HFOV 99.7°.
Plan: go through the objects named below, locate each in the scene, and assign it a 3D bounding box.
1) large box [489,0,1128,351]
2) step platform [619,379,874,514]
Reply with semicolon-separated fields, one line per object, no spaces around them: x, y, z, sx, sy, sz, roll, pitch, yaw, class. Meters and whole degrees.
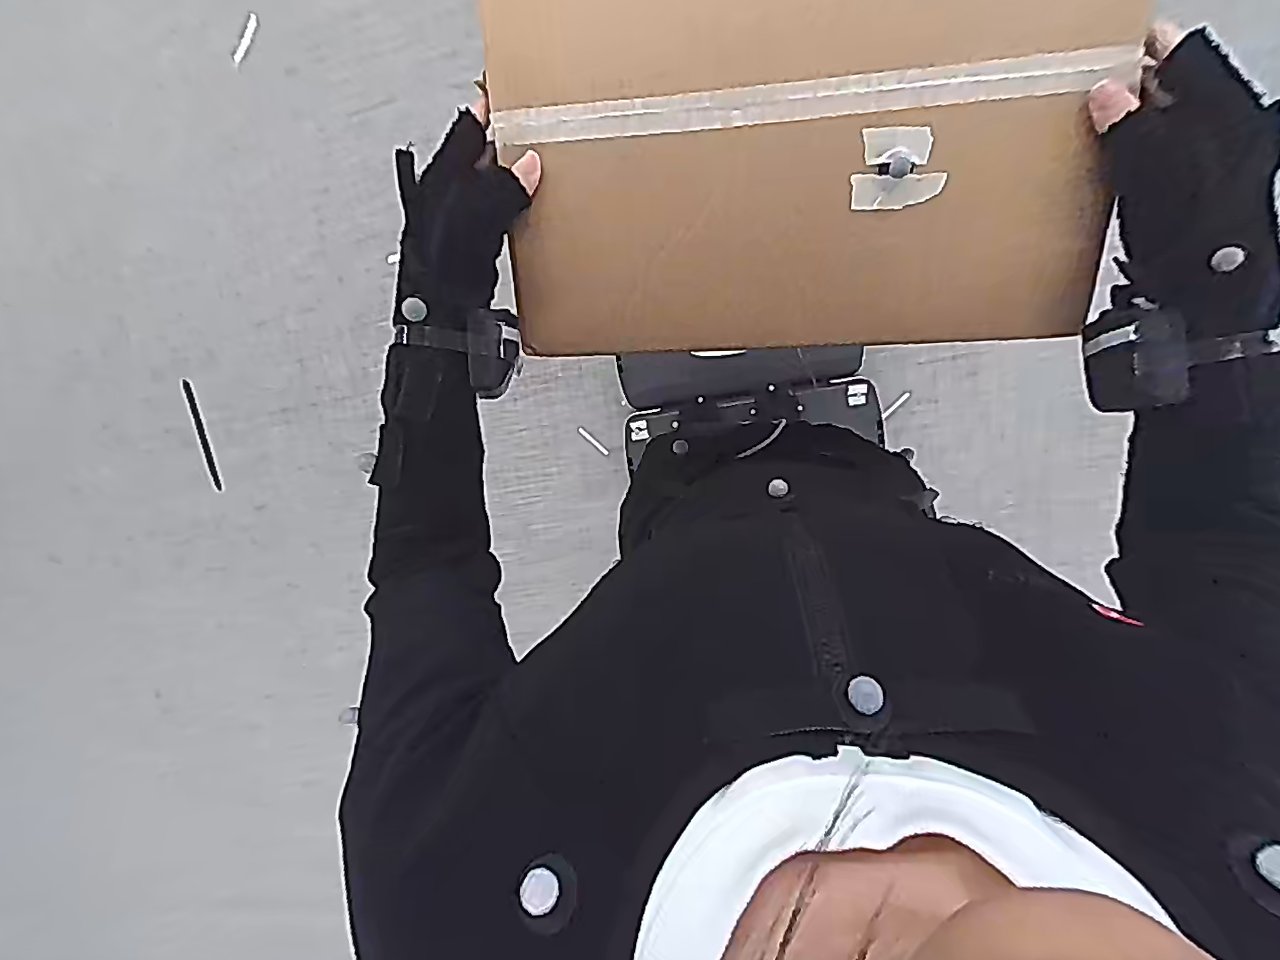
0.115;-0.304;0.503;0.408;0.320;0.320;-1;110;7;large box
0.284;-0.089;1.516;0.684;0.204;0.286;-8;98;13;step platform
